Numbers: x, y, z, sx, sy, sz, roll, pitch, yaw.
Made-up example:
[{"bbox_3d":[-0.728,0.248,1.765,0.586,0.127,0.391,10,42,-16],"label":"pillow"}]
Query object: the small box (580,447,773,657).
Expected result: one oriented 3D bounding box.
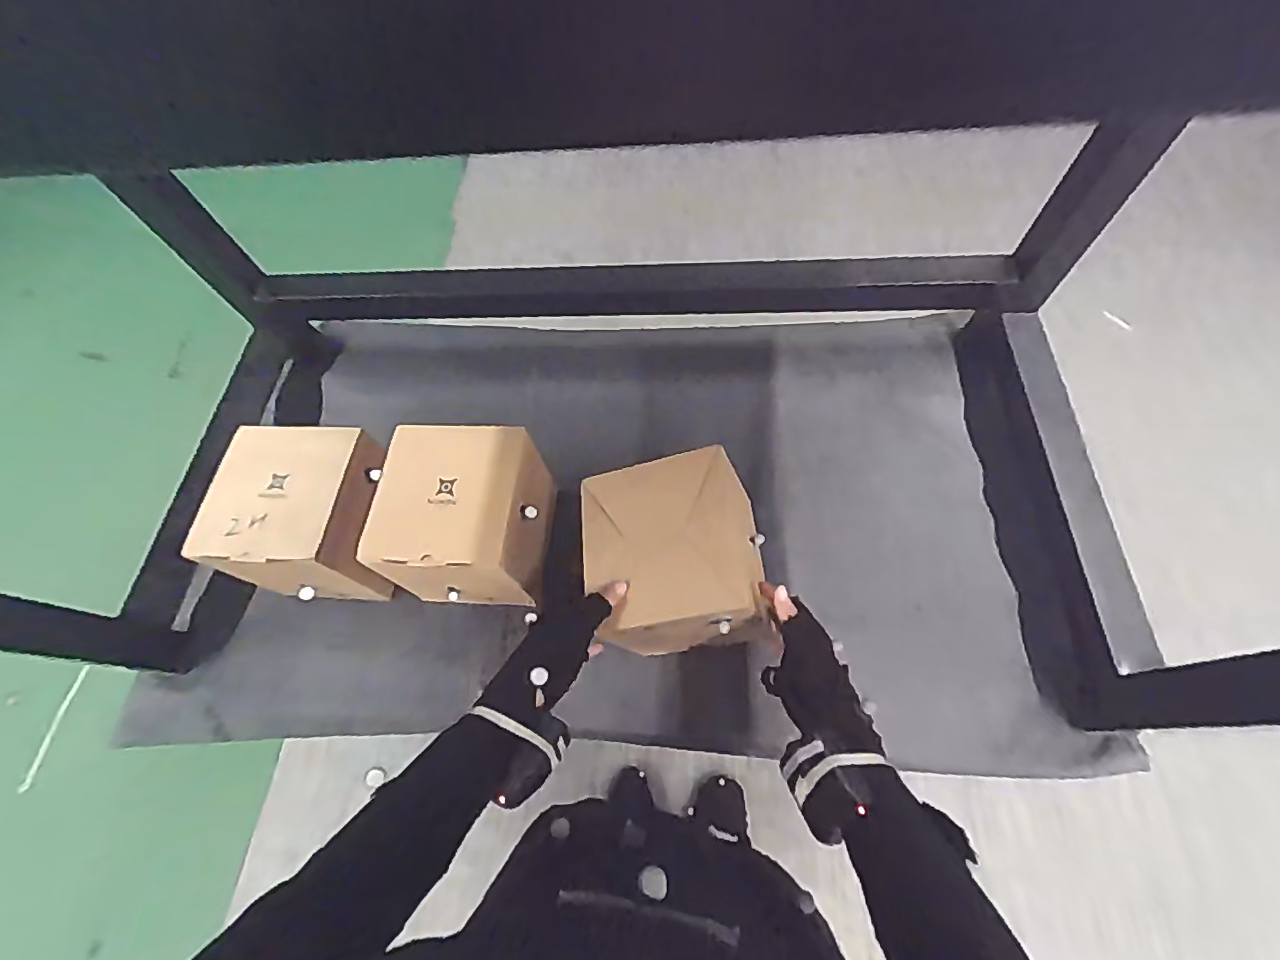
[{"bbox_3d":[0.042,0.090,0.617,0.168,0.176,0.179,-15,61,16],"label":"small box"}]
